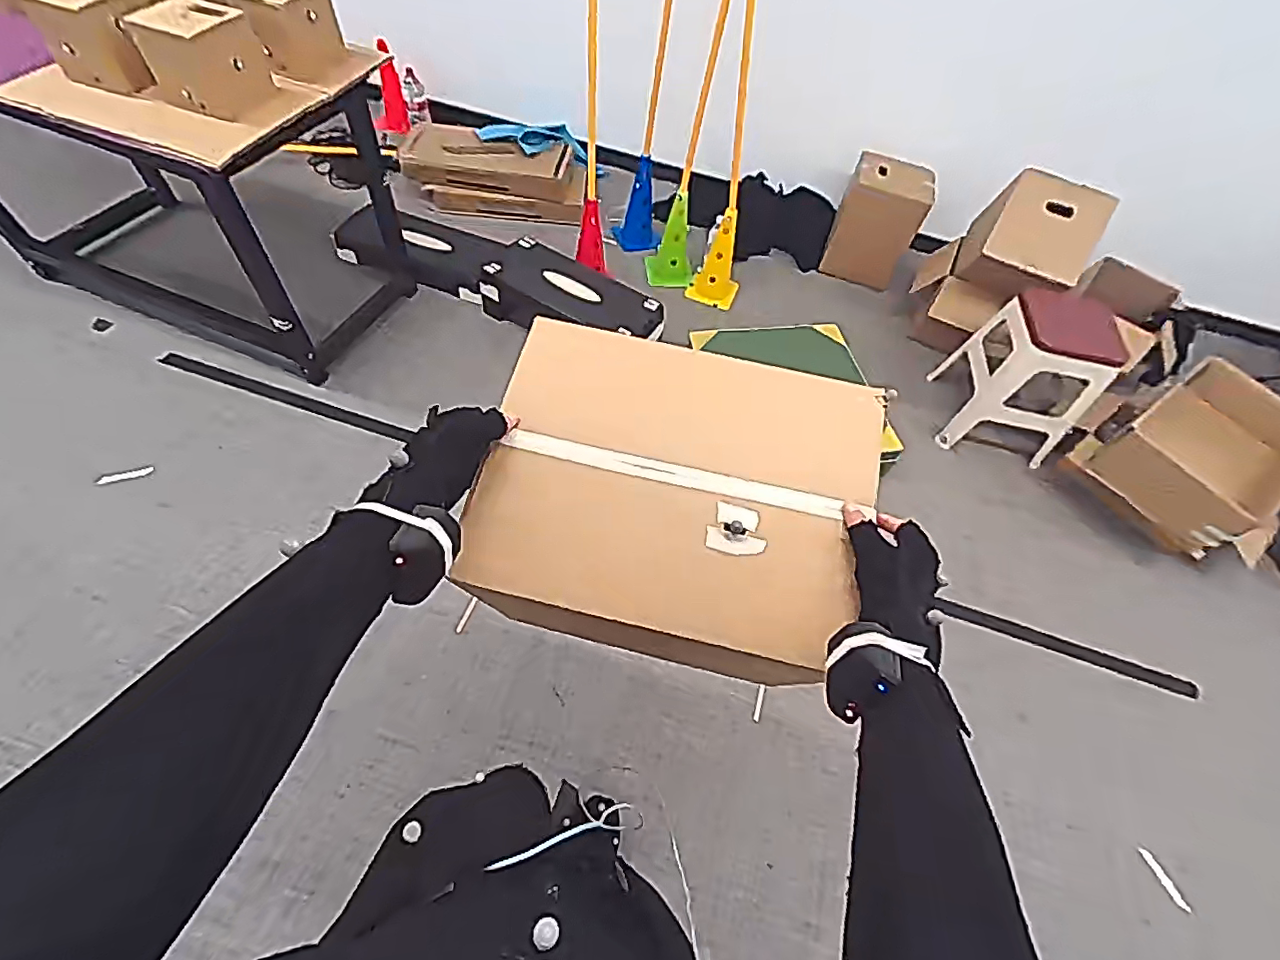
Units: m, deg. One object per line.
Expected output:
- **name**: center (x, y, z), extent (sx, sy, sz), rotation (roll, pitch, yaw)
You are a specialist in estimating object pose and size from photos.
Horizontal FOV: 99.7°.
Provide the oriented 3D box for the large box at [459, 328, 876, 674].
- **large box**: center (0.039, 0.050, 0.714), extent (0.408, 0.320, 0.320), rotation (13, 70, 4)
